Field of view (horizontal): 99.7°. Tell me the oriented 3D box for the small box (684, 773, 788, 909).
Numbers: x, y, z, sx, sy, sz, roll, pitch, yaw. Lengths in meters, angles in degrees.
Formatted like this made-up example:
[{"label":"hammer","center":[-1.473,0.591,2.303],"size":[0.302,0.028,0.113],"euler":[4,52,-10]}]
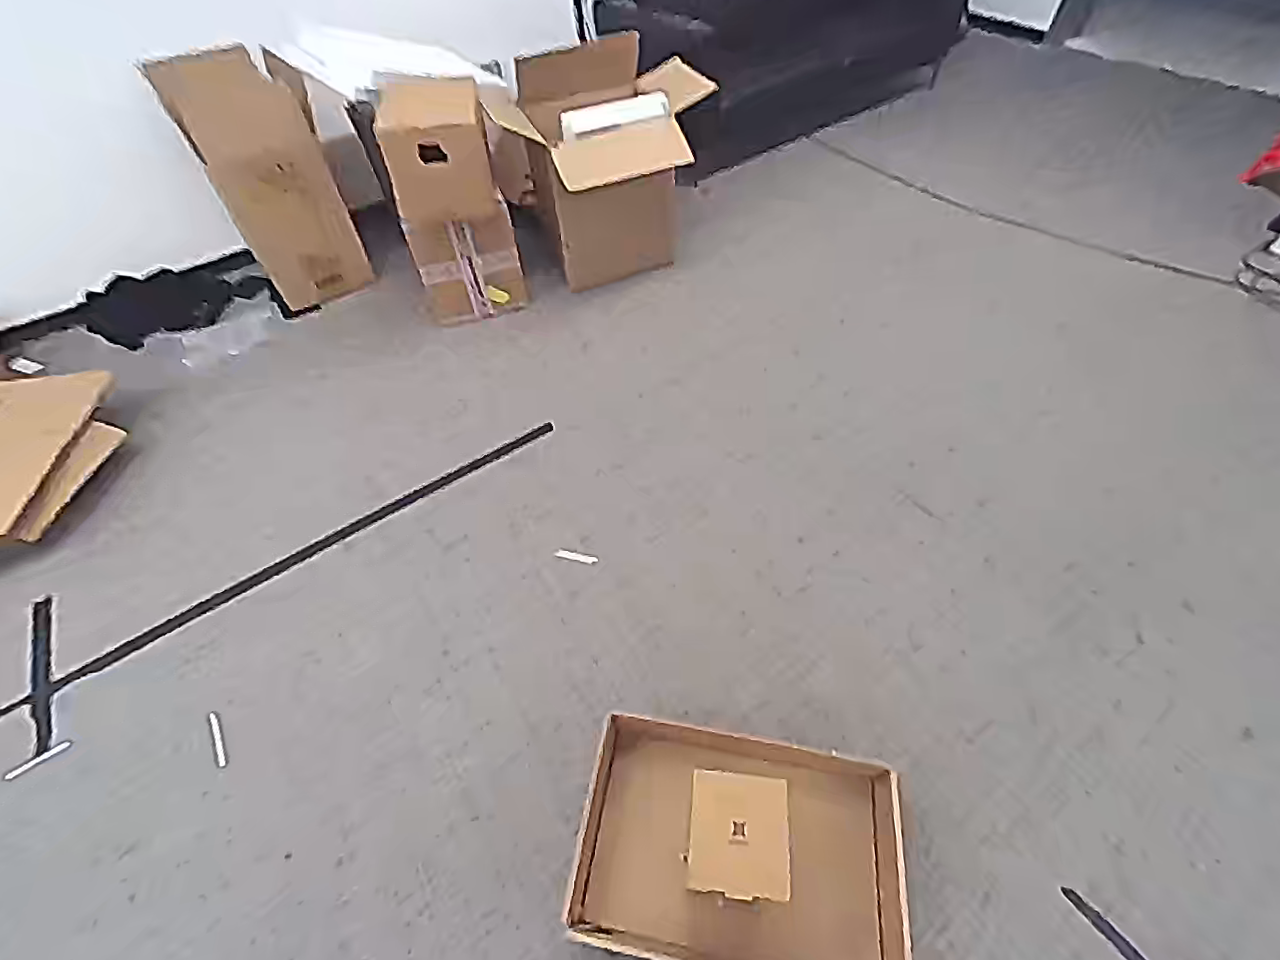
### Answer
[{"label":"small box","center":[0.167,0.647,0.969],"size":[0.168,0.176,0.179],"euler":[4,52,5]}]
